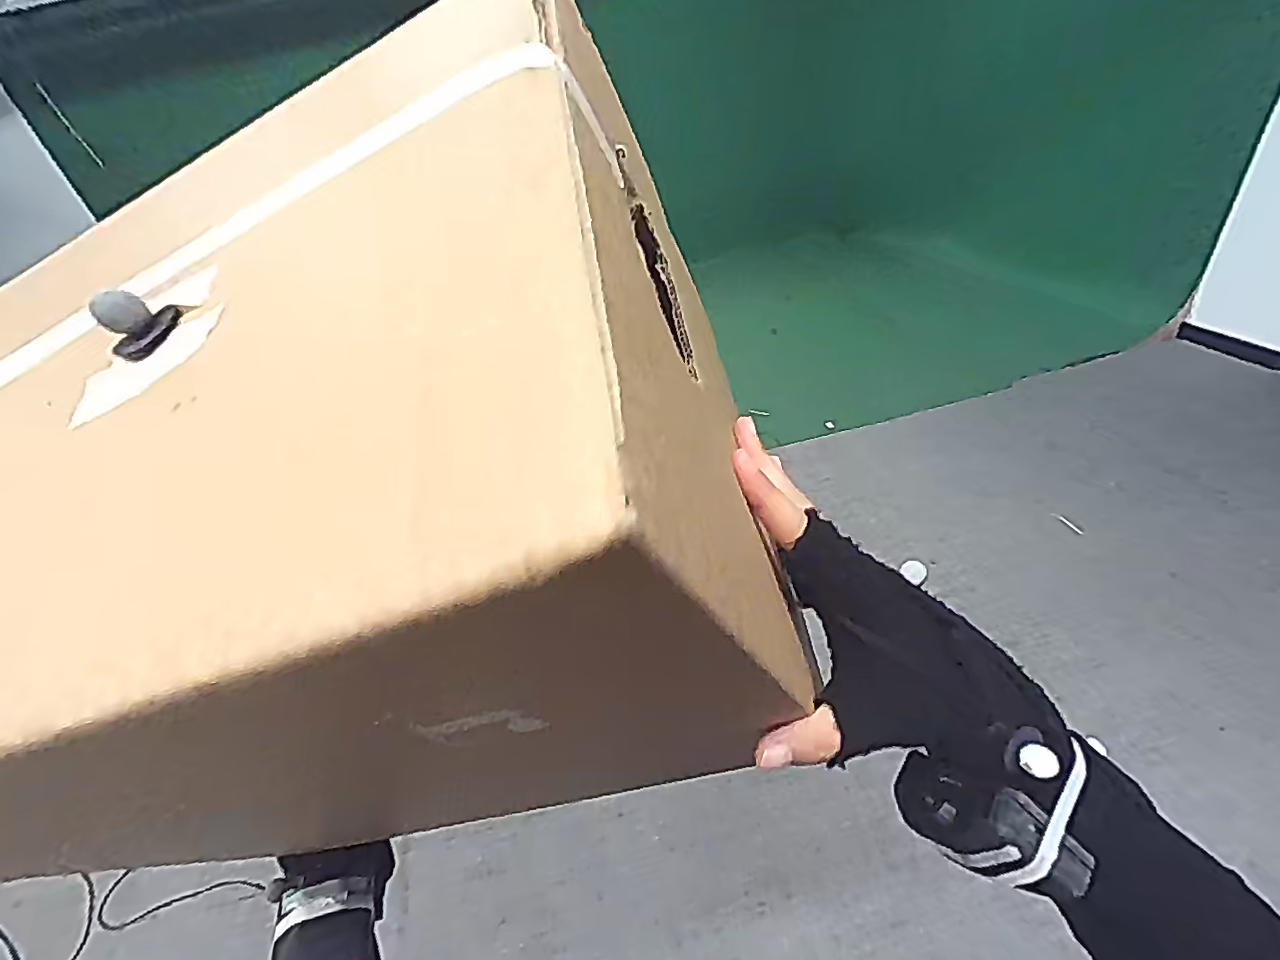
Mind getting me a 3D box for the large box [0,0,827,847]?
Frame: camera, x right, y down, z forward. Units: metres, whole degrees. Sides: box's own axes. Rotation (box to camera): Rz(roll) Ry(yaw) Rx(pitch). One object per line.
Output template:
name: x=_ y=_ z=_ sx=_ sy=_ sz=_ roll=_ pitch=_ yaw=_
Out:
large box: x=-0.140 y=0.014 z=0.343 sx=0.408 sy=0.320 sz=0.320 roll=-19 pitch=56 yaw=14
